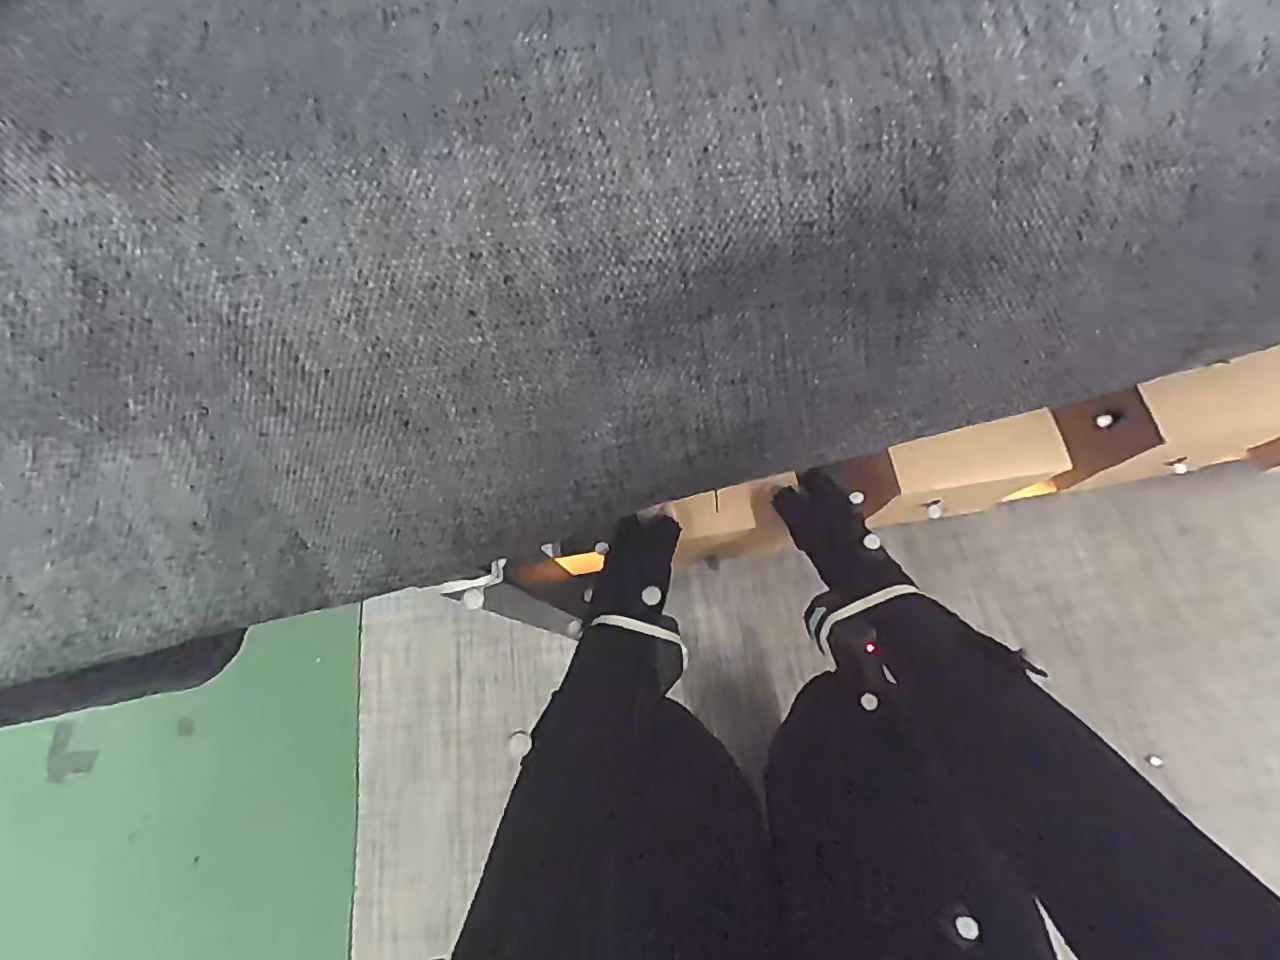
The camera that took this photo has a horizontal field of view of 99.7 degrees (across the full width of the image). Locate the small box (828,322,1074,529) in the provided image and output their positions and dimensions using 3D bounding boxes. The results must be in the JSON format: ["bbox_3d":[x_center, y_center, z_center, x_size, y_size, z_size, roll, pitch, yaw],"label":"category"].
[{"bbox_3d":[0.333,-0.049,0.624,0.168,0.176,0.179,-10,69,3],"label":"small box"}]
